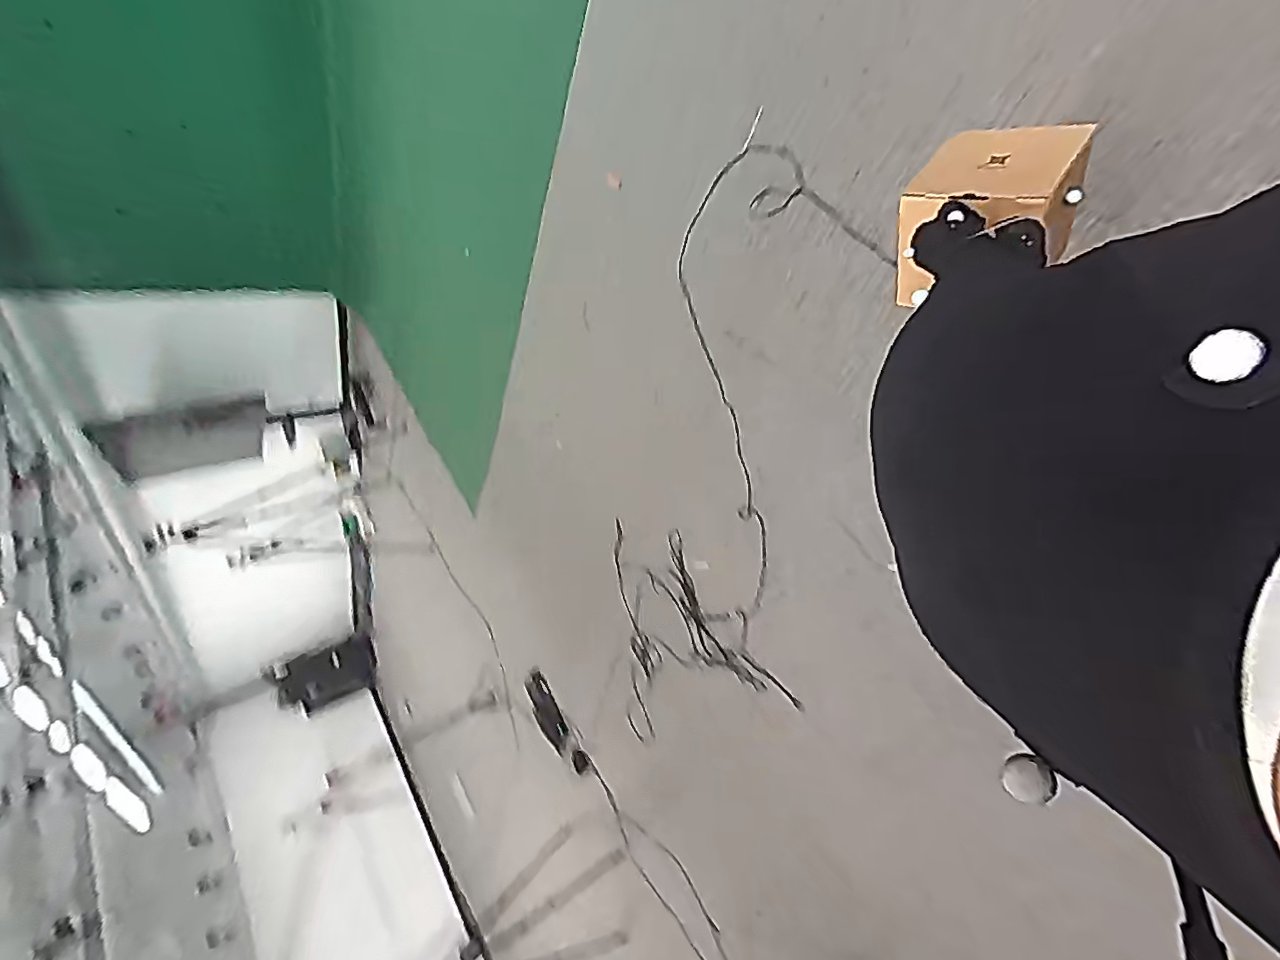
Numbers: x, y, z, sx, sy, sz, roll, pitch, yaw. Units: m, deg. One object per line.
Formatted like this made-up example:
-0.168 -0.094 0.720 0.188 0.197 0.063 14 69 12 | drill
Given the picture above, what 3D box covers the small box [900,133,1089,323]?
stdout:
0.479 -0.349 0.754 0.168 0.179 0.176 24 155 38 | small box
